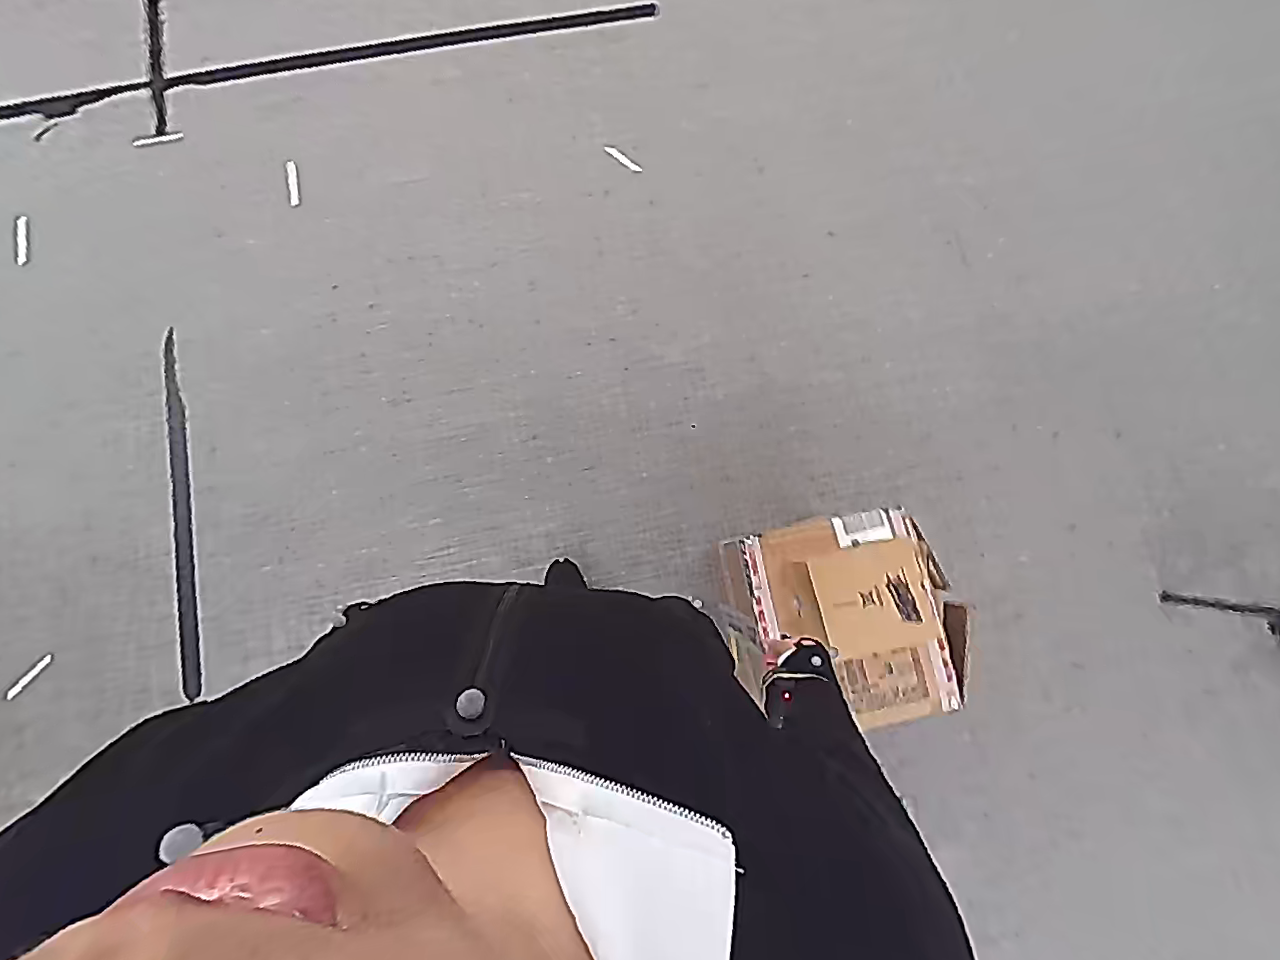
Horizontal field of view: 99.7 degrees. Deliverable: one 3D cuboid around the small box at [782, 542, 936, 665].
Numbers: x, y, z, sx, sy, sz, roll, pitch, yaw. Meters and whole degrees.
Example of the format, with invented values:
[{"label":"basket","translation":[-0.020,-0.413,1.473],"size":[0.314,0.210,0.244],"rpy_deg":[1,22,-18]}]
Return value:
[{"label":"small box","translation":[0.366,0.205,0.935],"size":[0.179,0.176,0.168],"rpy_deg":[-13,81,0]}]
